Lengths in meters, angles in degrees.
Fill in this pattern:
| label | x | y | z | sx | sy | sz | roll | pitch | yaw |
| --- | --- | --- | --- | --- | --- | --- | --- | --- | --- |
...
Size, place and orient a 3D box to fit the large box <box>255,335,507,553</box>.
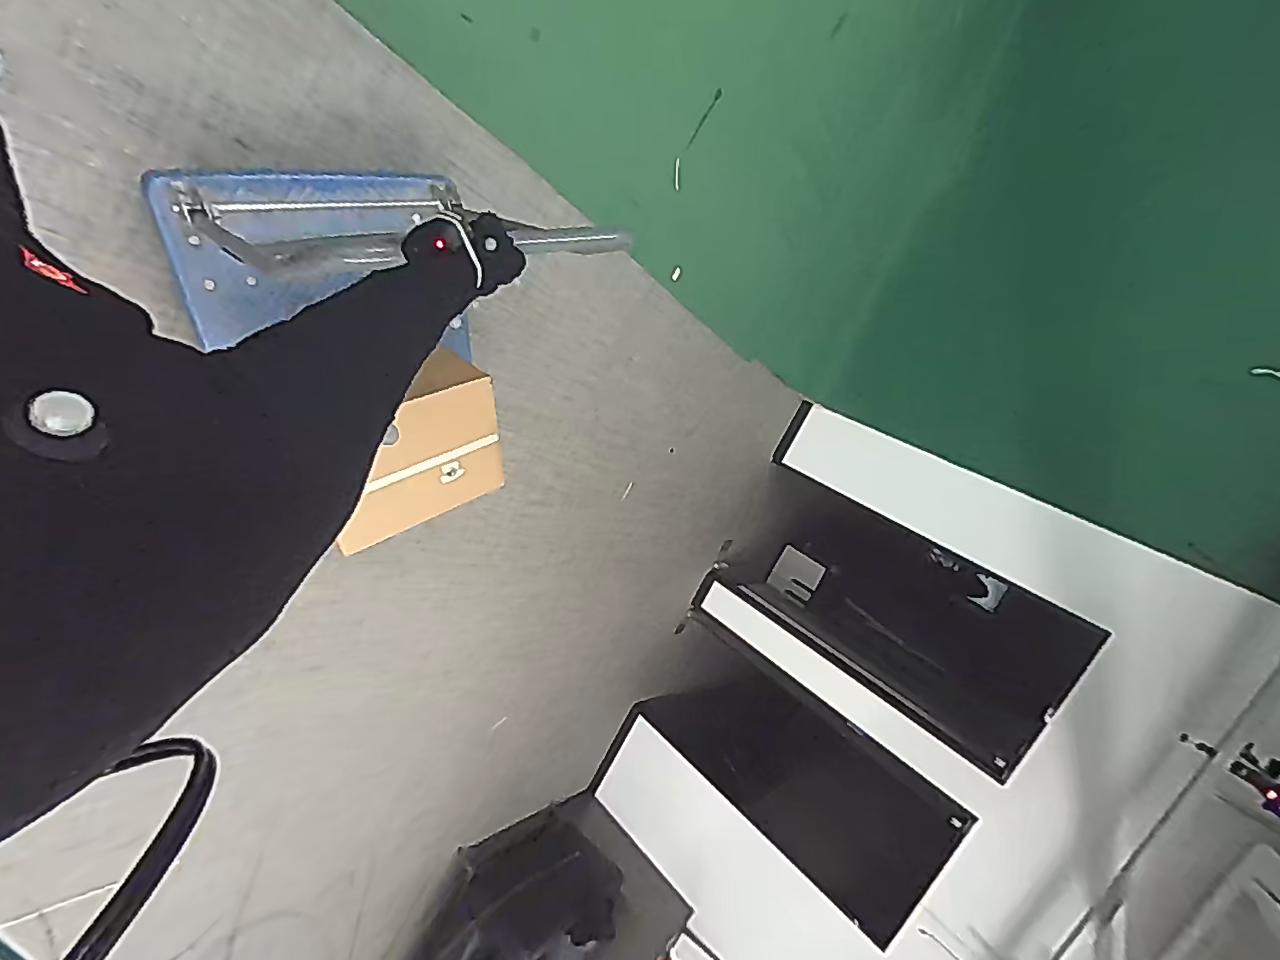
| label | x | y | z | sx | sy | sz | roll | pitch | yaw |
| --- | --- | --- | --- | --- | --- | --- | --- | --- | --- |
| large box | -0.584 | -0.107 | 1.271 | 0.408 | 0.320 | 0.320 | -30 | 139 | -36 |
